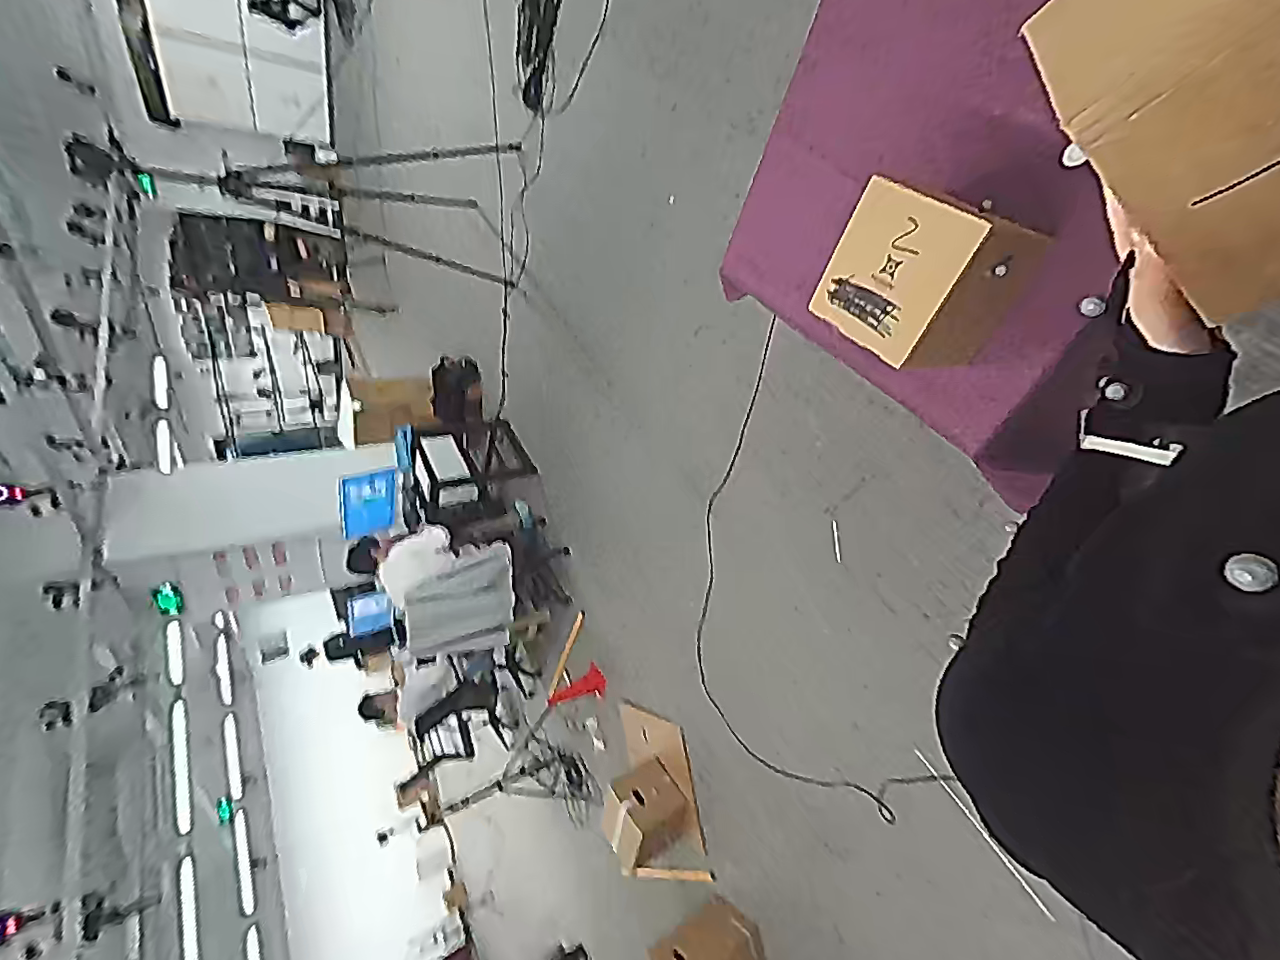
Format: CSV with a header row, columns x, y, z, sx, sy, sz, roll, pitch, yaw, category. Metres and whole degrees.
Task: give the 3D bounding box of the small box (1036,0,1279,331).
x,y,z,sx,sy,sz,roll,pitch,yaw,category
0.346,-0.223,0.278,0.179,0.168,0.176,-30,32,49,small box
